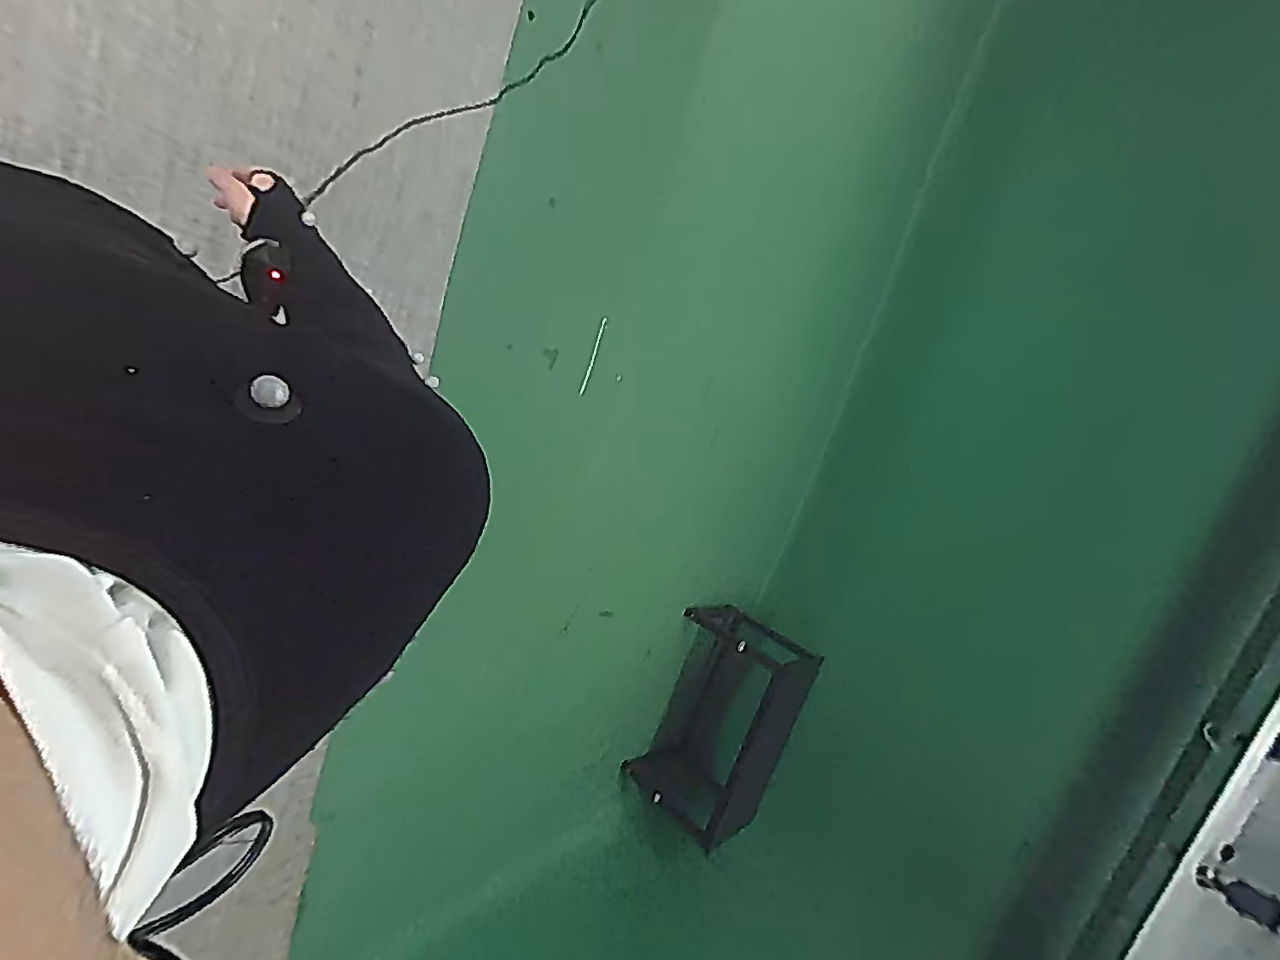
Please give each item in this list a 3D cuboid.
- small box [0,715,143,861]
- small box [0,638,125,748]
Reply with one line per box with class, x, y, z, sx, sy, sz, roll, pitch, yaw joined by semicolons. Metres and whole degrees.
small box;-1.115;0.583;1.050;0.179;0.176;0.168;18;96;-51
small box;-1.346;0.483;1.260;0.179;0.176;0.168;14;100;-50
